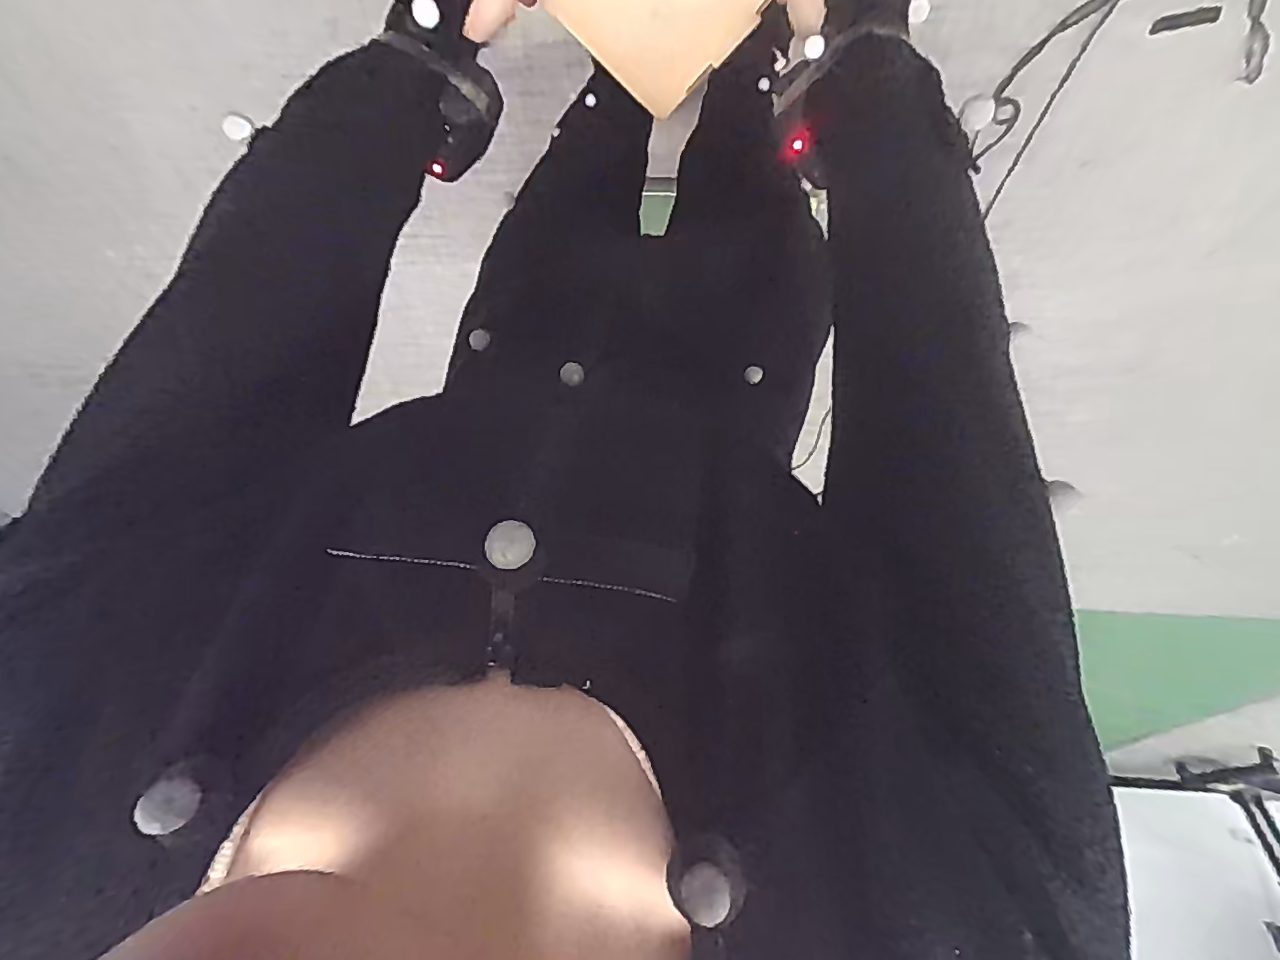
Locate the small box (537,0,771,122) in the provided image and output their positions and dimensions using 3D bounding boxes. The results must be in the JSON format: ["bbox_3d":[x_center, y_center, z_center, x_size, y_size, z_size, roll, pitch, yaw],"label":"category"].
[{"bbox_3d":[0.012,-0.441,0.416,0.179,0.176,0.168,27,141,-33],"label":"small box"}]
